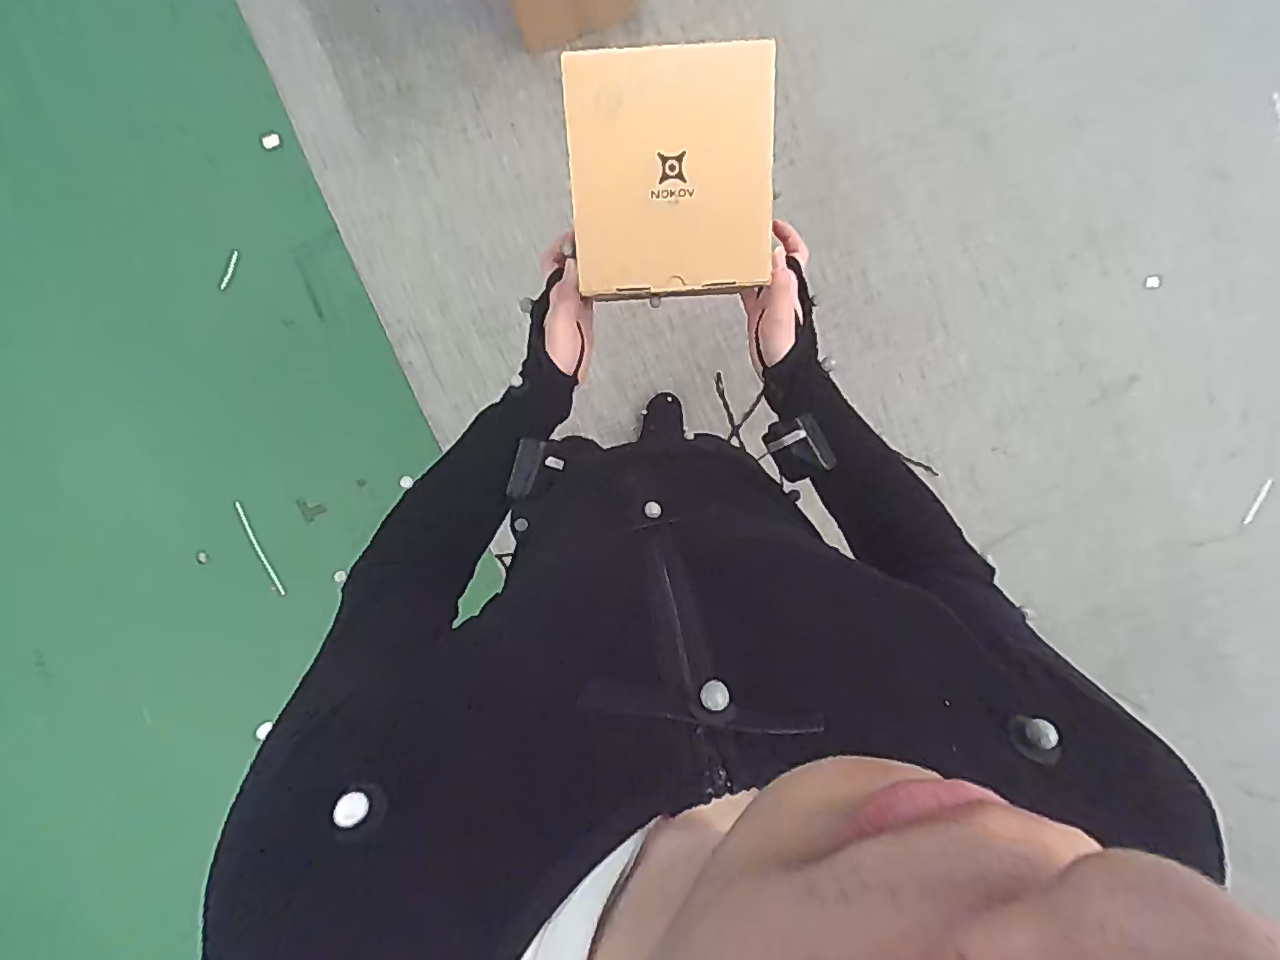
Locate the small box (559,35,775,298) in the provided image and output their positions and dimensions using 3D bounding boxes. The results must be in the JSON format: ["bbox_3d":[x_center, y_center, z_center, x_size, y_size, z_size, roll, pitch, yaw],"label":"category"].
[{"bbox_3d":[0.021,-0.267,0.500,0.168,0.176,0.179,-4,108,0],"label":"small box"}]
